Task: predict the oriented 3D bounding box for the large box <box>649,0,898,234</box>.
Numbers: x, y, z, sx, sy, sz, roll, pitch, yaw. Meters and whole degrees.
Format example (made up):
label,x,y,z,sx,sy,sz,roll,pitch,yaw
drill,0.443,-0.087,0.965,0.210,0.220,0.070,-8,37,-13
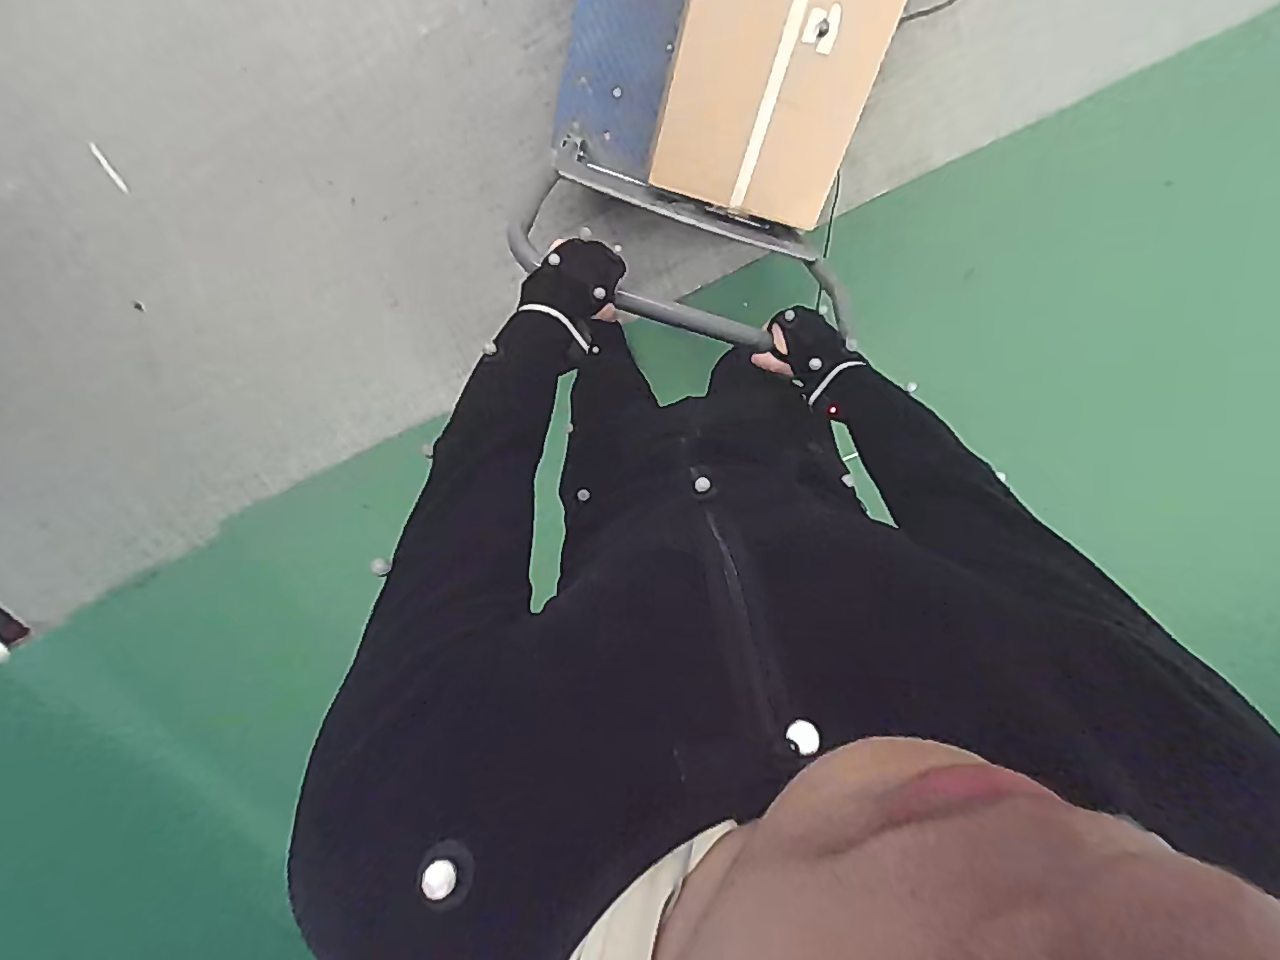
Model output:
label,x,y,z,sx,sy,sz,roll,pitch,yaw
large box,0.210,-0.724,1.003,0.320,0.320,0.408,12,122,-9
